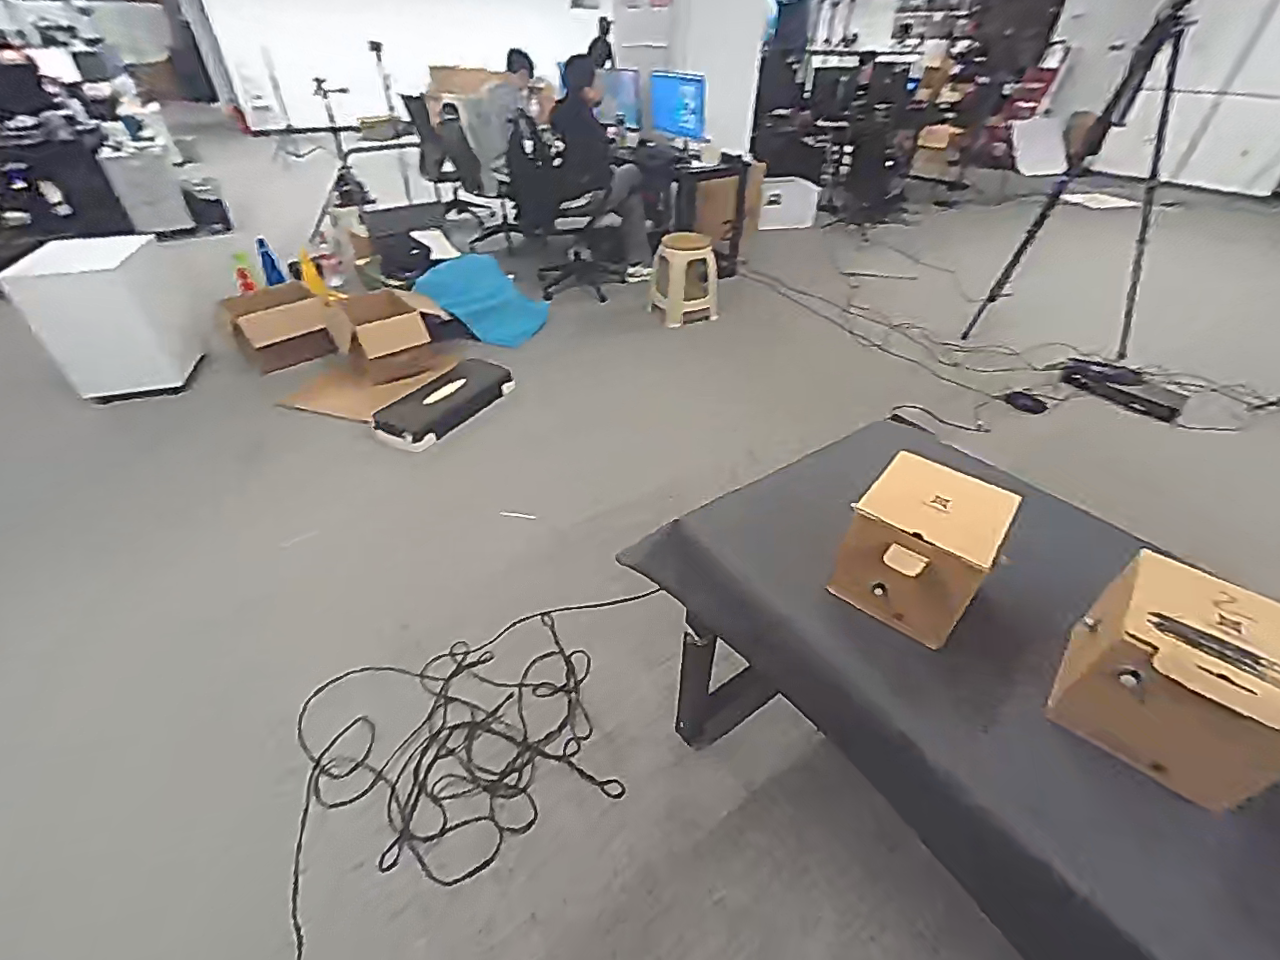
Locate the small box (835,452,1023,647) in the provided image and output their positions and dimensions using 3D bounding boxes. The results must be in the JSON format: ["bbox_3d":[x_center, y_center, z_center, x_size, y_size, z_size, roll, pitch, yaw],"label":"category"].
[{"bbox_3d":[0.400,0.095,0.768,0.168,0.176,0.179,29,47,30],"label":"small box"}]
